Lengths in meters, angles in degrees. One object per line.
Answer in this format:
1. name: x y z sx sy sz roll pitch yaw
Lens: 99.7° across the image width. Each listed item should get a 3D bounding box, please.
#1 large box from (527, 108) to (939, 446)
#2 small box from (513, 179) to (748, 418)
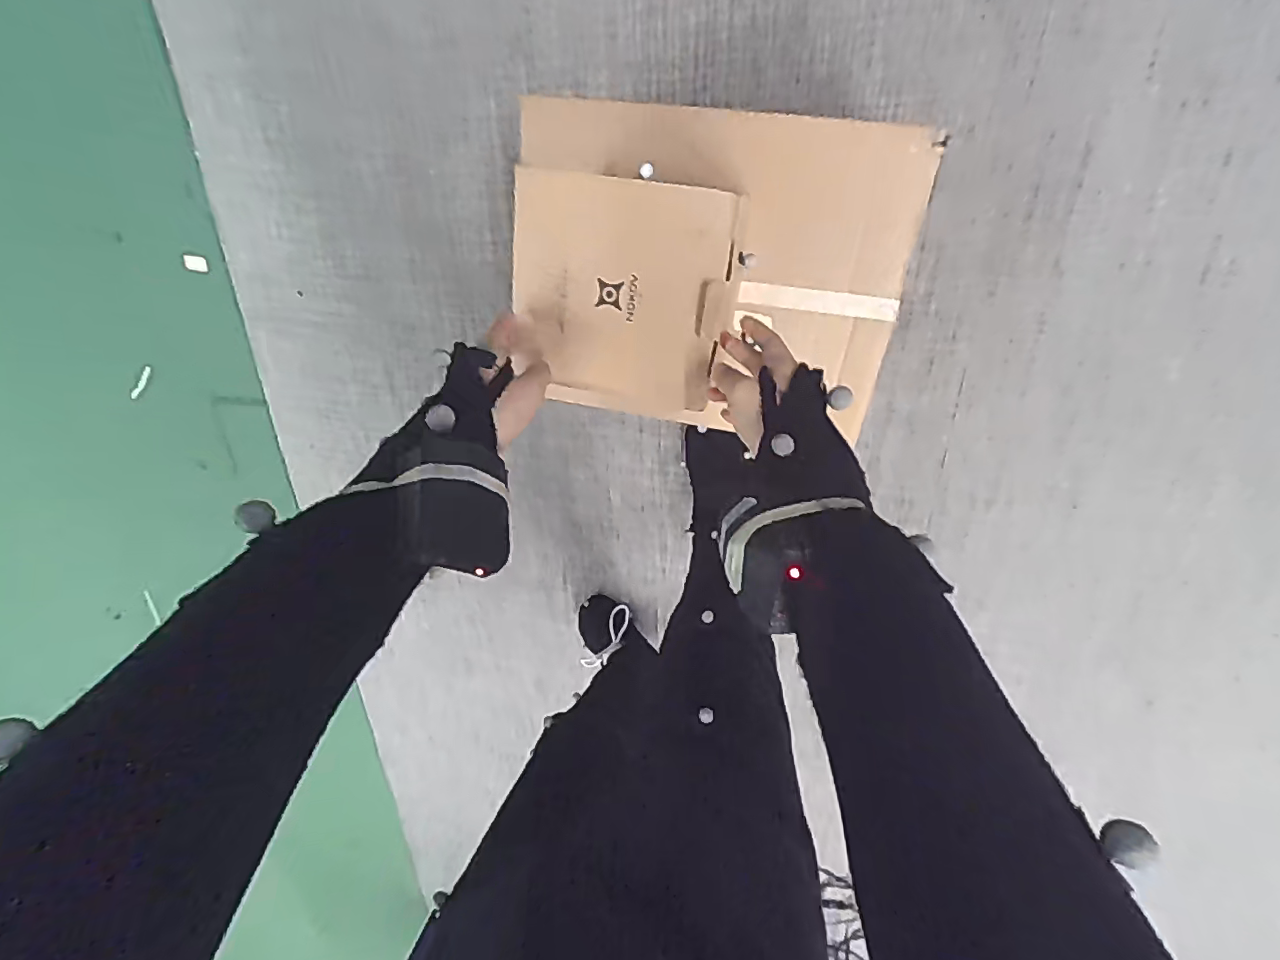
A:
1. large box: 0.095 -0.264 0.712 0.408 0.320 0.320 10 116 9
2. small box: -0.001 -0.171 0.505 0.179 0.176 0.168 12 114 10
